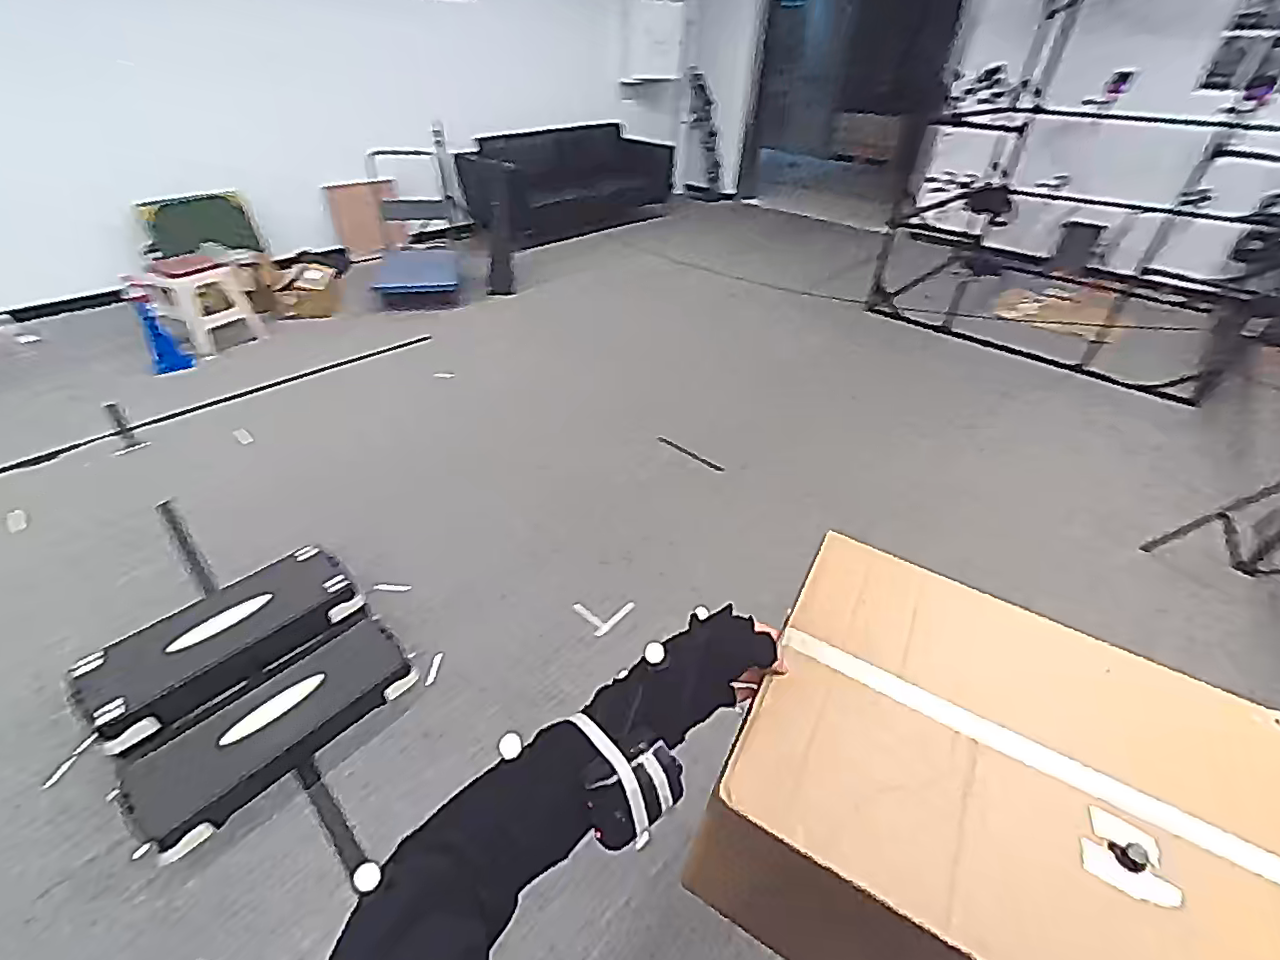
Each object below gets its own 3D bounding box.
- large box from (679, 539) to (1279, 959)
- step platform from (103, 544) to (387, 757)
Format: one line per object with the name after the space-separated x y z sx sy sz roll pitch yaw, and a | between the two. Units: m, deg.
0.292 0.330 0.555 0.408 0.320 0.320 22 47 18 | large box
-1.162 0.478 1.645 0.286 0.204 0.684 29 45 30 | step platform
